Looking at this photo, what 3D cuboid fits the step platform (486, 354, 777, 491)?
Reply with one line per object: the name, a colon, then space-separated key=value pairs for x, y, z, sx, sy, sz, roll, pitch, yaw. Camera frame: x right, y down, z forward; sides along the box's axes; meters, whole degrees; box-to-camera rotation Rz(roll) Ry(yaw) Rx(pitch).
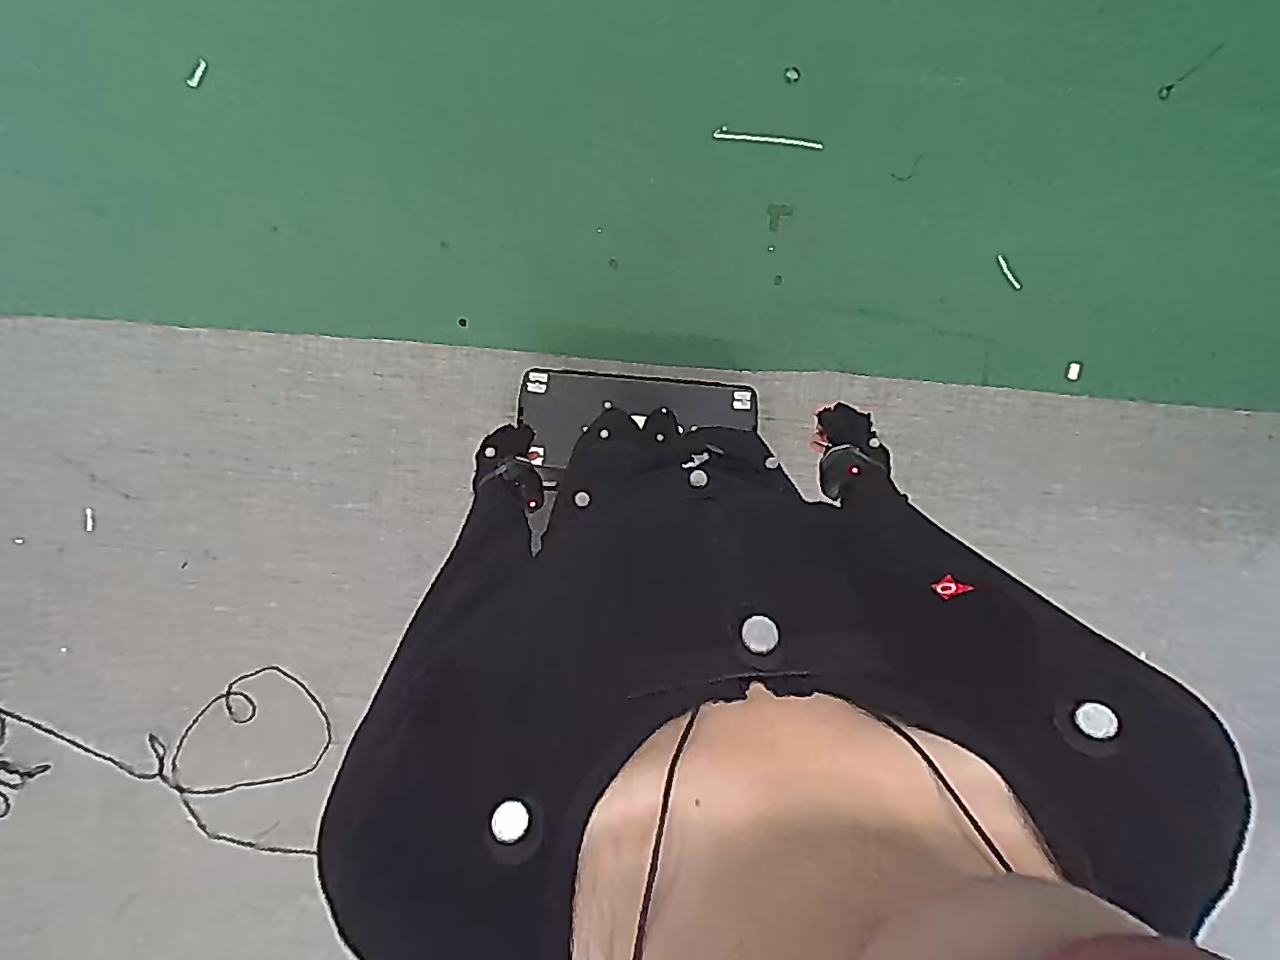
step platform: x=-0.021 y=-0.144 z=1.356 sx=0.684 sy=0.204 sz=0.286 roll=4 pitch=98 yaw=-1
